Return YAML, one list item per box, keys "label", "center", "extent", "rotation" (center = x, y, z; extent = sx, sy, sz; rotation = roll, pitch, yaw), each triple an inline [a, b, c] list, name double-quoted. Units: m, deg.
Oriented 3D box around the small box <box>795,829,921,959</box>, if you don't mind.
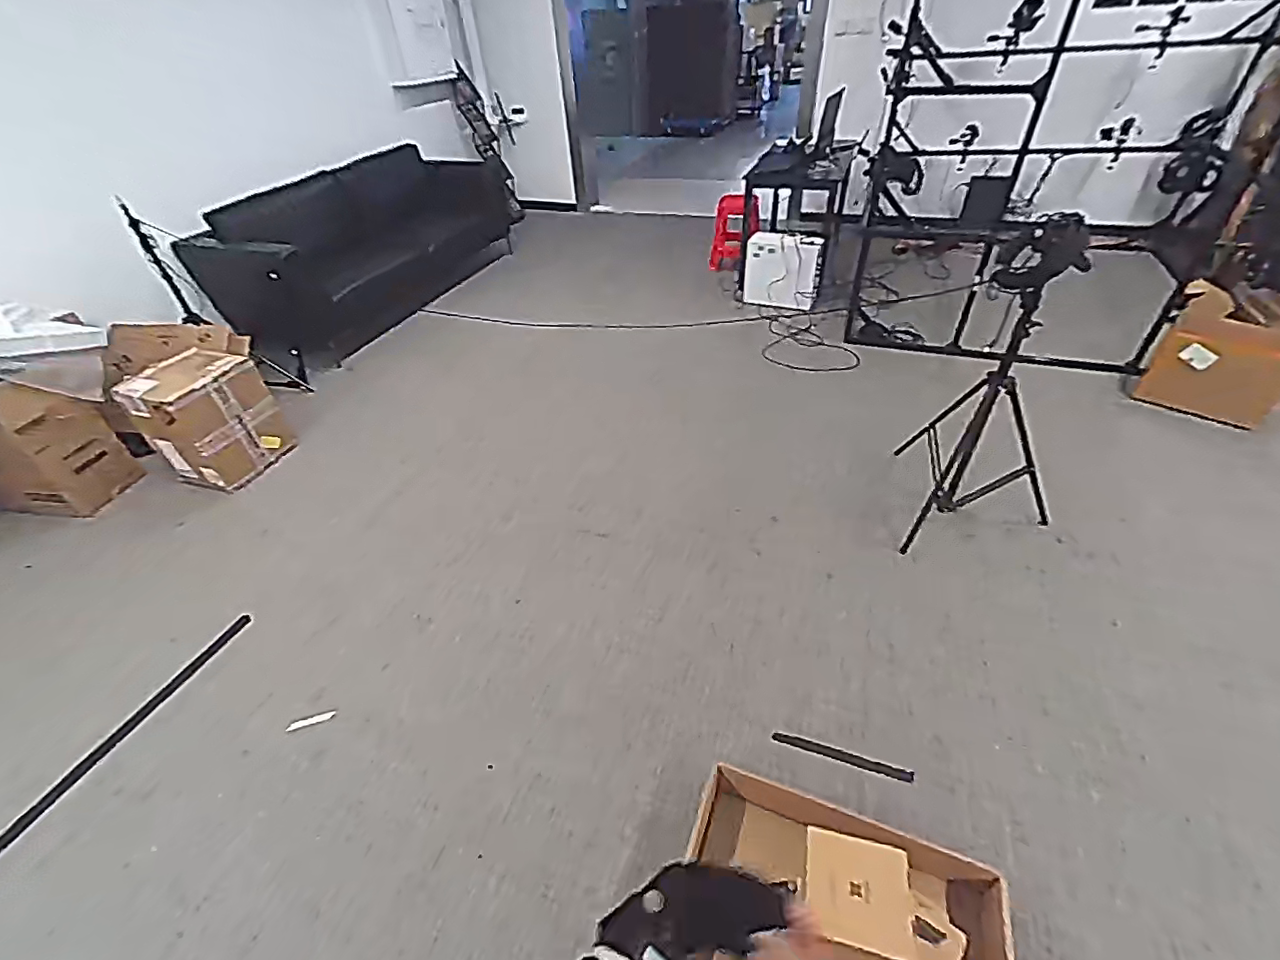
- label: "small box"
  center: [0.385, 0.772, 0.978]
  extent: [0.179, 0.176, 0.168]
  rotation: [6, 40, 14]
